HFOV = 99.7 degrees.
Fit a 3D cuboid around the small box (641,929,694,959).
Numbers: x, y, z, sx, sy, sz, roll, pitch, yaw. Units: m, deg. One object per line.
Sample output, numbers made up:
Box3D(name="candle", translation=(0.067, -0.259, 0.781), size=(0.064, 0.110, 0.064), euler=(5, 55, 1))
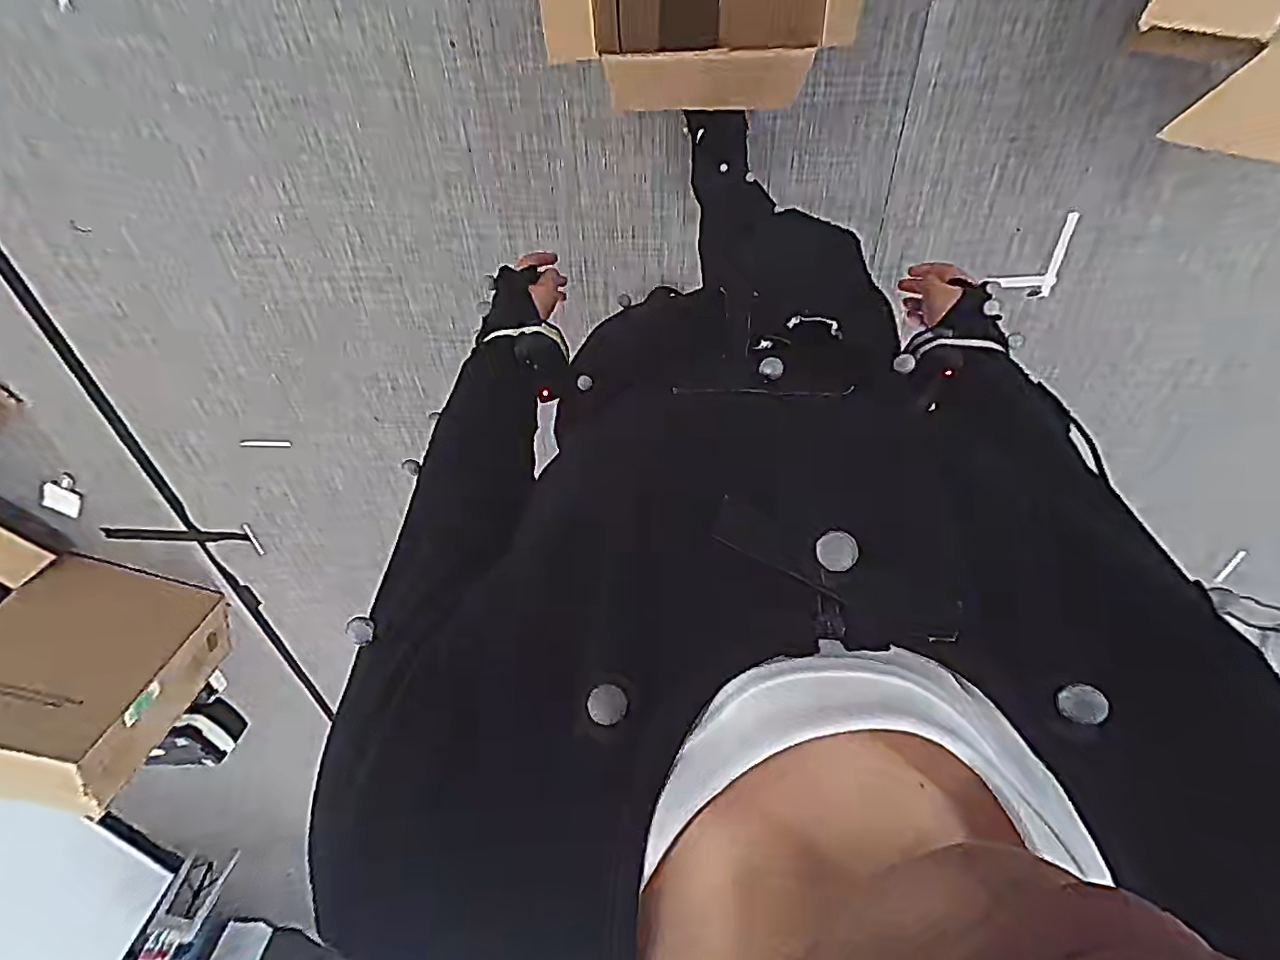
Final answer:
Box3D(name="small box", translation=(0.089, 1.619, 1.791), size=(0.179, 0.176, 0.168), euler=(1, 126, 4))
